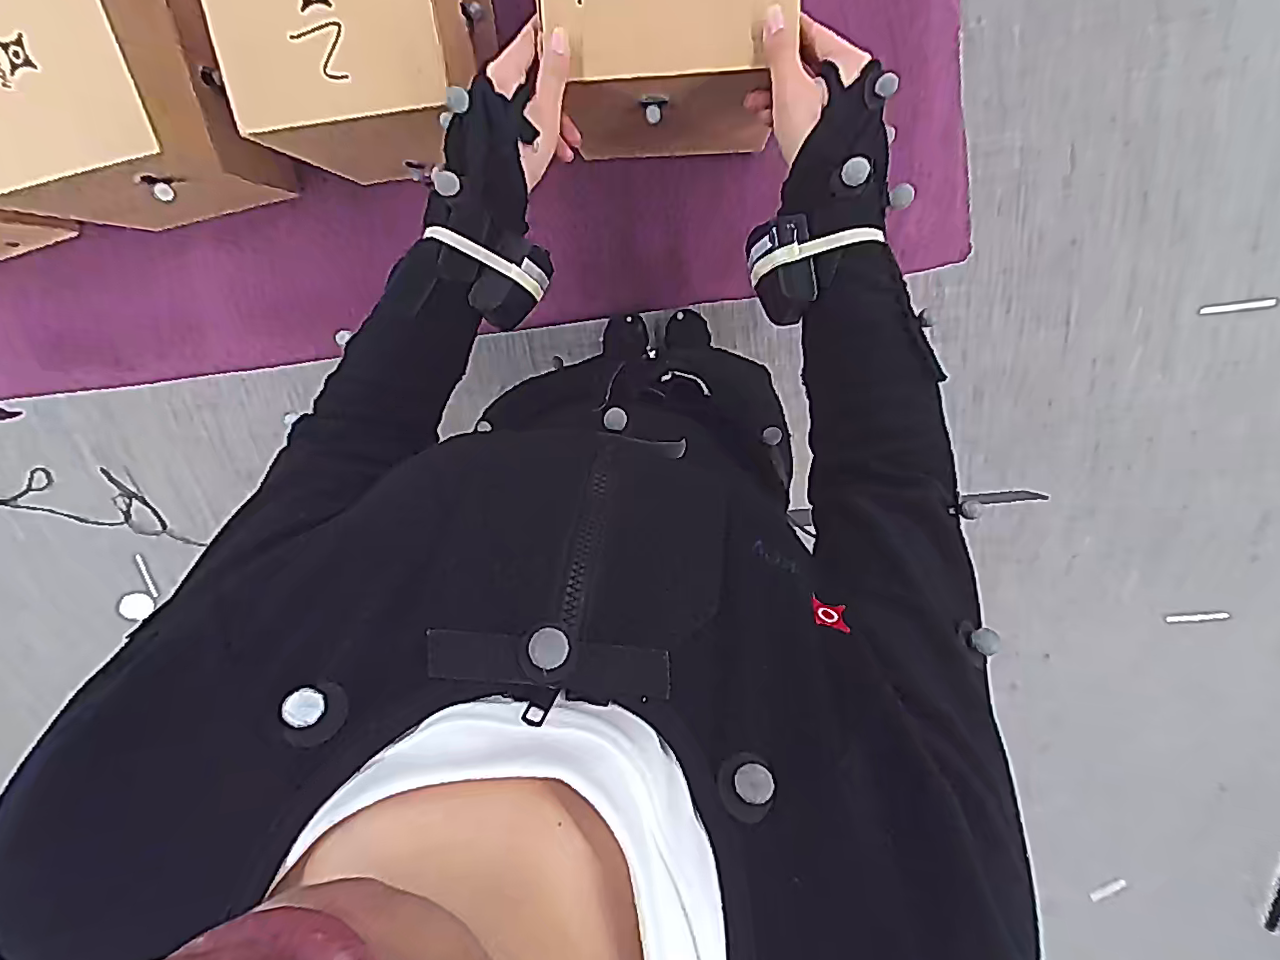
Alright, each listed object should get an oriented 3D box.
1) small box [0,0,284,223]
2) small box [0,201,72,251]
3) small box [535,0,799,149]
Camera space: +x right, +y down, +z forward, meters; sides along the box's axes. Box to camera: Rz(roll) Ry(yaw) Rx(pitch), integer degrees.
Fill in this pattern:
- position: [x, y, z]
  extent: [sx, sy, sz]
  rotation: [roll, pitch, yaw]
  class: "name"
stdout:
- position: [-0.454, -0.337, 0.470]
  extent: [0.179, 0.176, 0.168]
  rotation: [-10, 106, 6]
  class: "small box"
- position: [-0.707, -0.308, 0.497]
  extent: [0.168, 0.176, 0.179]
  rotation: [-13, 106, 7]
  class: "small box"
- position: [0.022, -0.376, 0.421]
  extent: [0.179, 0.176, 0.168]
  rotation: [0, 105, 3]
  class: "small box"
